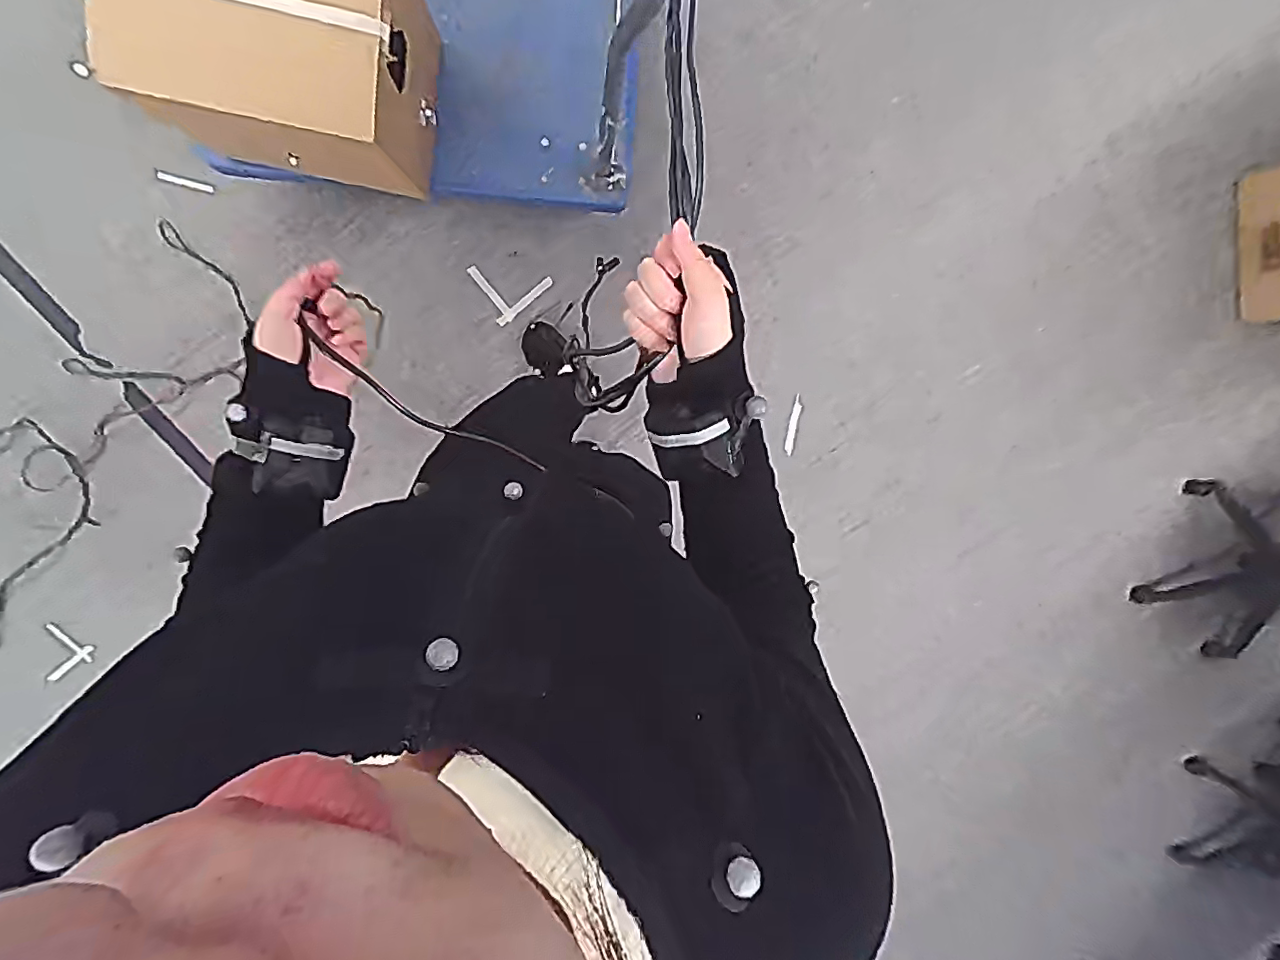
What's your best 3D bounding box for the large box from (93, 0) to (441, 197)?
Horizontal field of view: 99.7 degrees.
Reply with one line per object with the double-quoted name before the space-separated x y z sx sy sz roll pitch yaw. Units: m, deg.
"large box" -0.592 -0.725 0.936 0.408 0.320 0.320 8 101 -7
